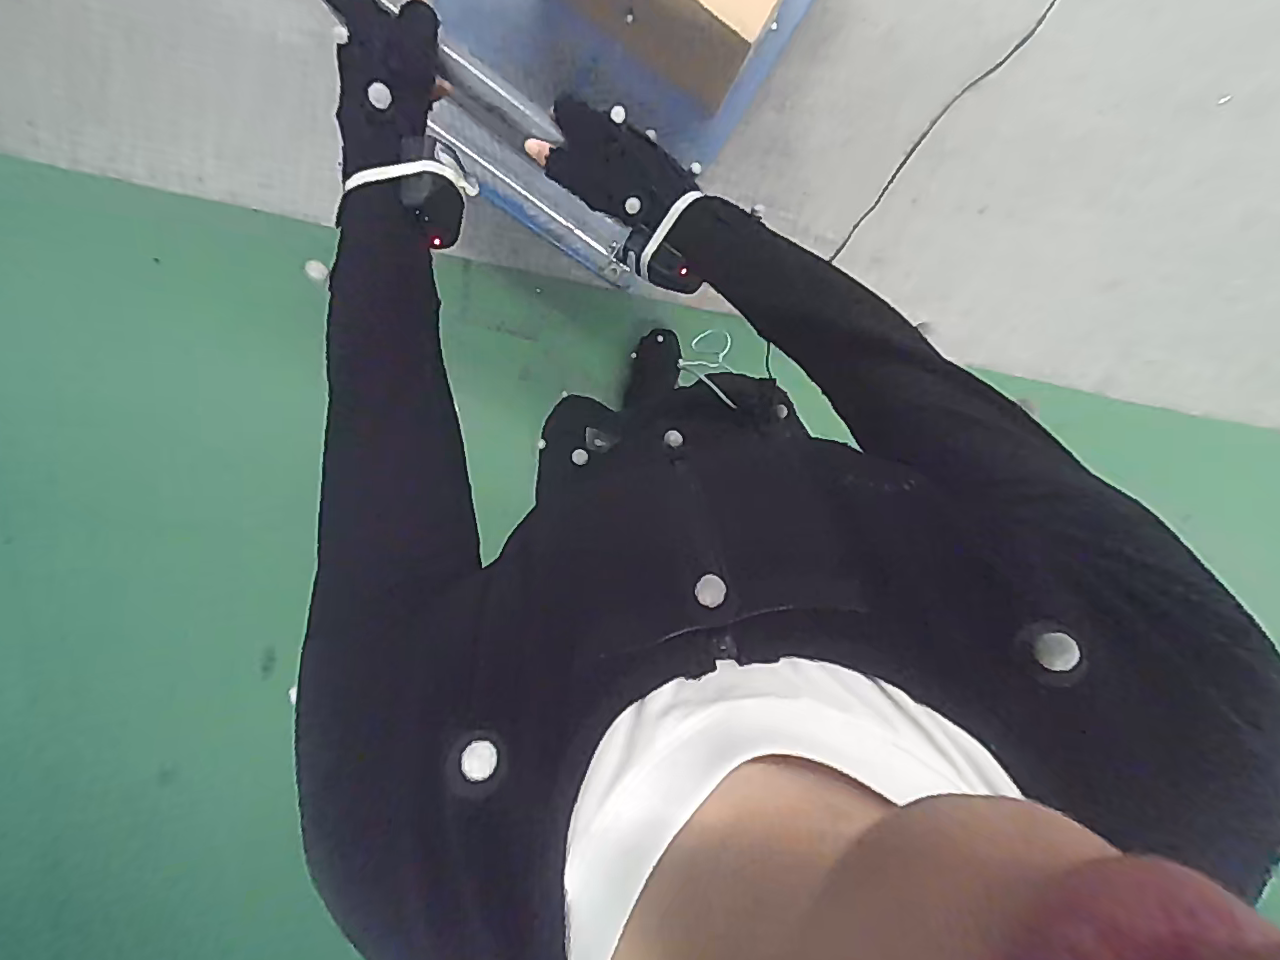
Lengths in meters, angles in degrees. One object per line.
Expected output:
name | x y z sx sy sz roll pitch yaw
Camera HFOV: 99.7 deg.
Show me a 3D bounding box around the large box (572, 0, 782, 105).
large box | 0.069 -0.904 0.854 0.408 0.320 0.320 31 104 -10
